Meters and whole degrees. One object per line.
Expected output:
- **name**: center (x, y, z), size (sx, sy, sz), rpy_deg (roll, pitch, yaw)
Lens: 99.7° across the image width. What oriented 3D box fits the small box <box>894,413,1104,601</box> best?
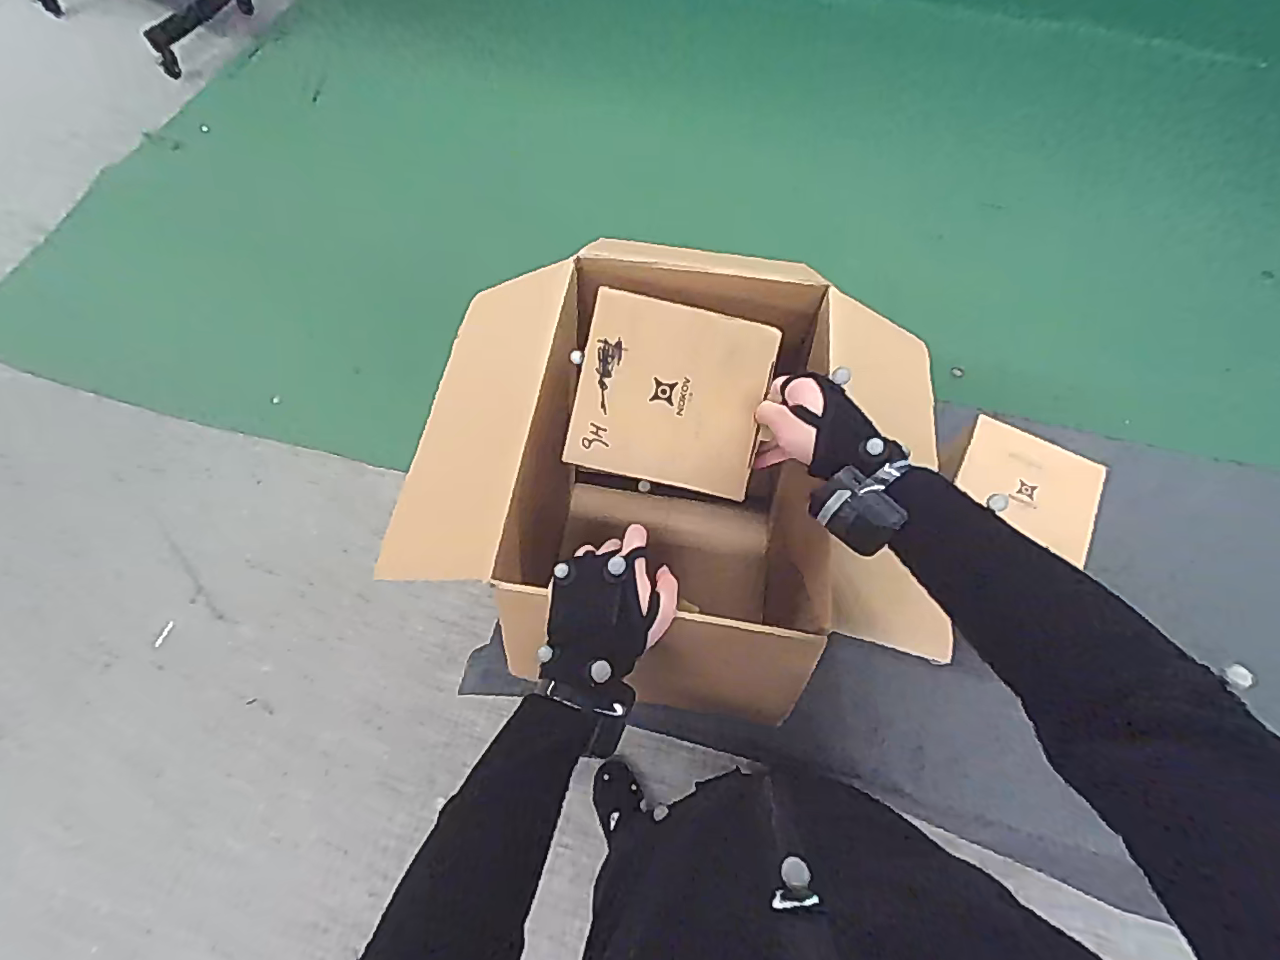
- **small box**: center (0.483, 0.046, 0.753), size (0.168, 0.176, 0.179), rpy_deg (28, 68, 11)
